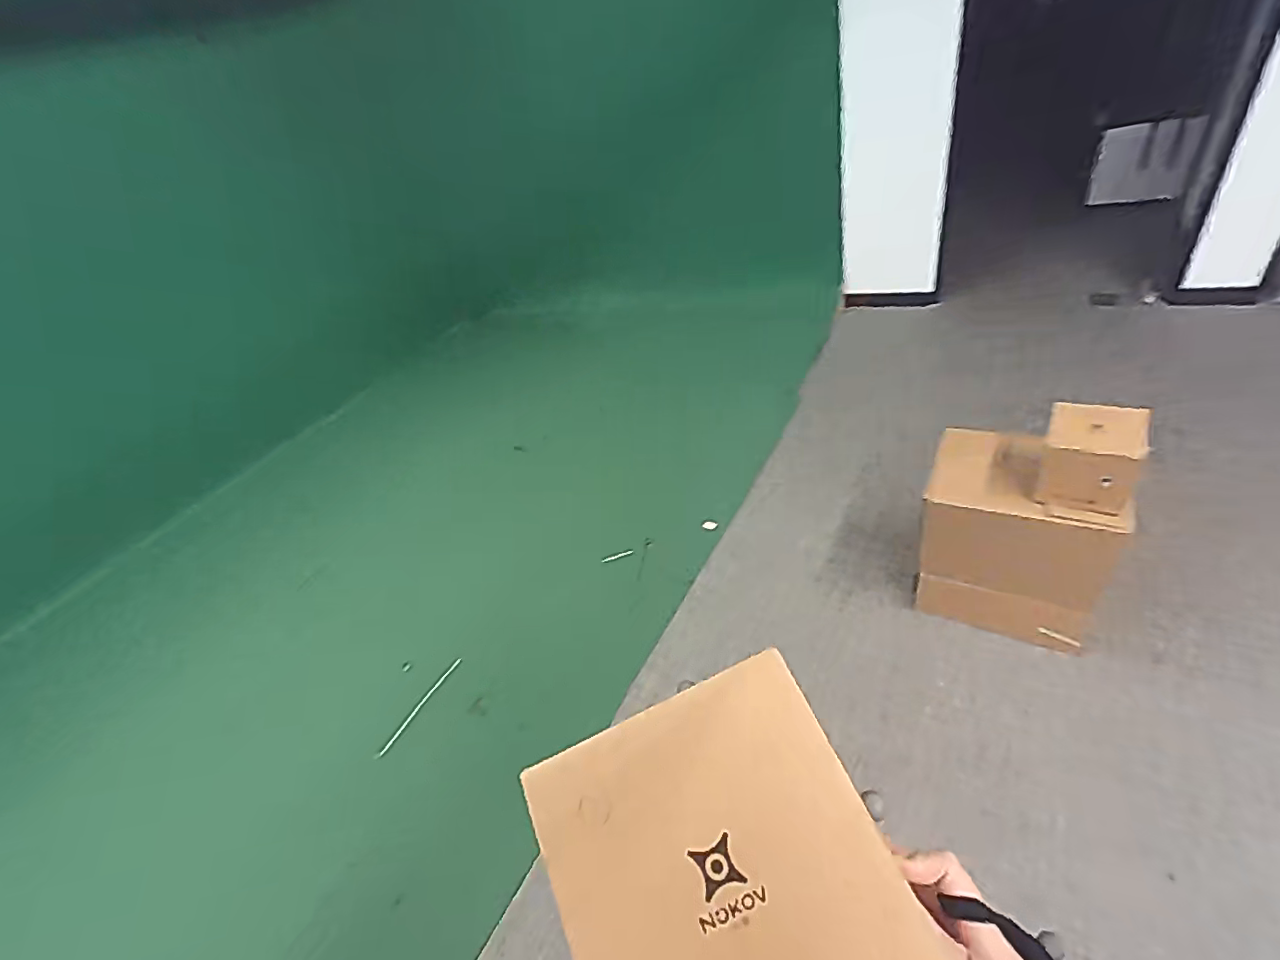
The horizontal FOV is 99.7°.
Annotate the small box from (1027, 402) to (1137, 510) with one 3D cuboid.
[{"bbox_3d":[1.004,-0.056,1.236,0.168,0.176,0.179,13,47,35],"label":"small box"}]

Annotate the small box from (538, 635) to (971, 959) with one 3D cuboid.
[{"bbox_3d":[0.057,0.227,0.344,0.168,0.176,0.179,-25,62,-4],"label":"small box"}]
